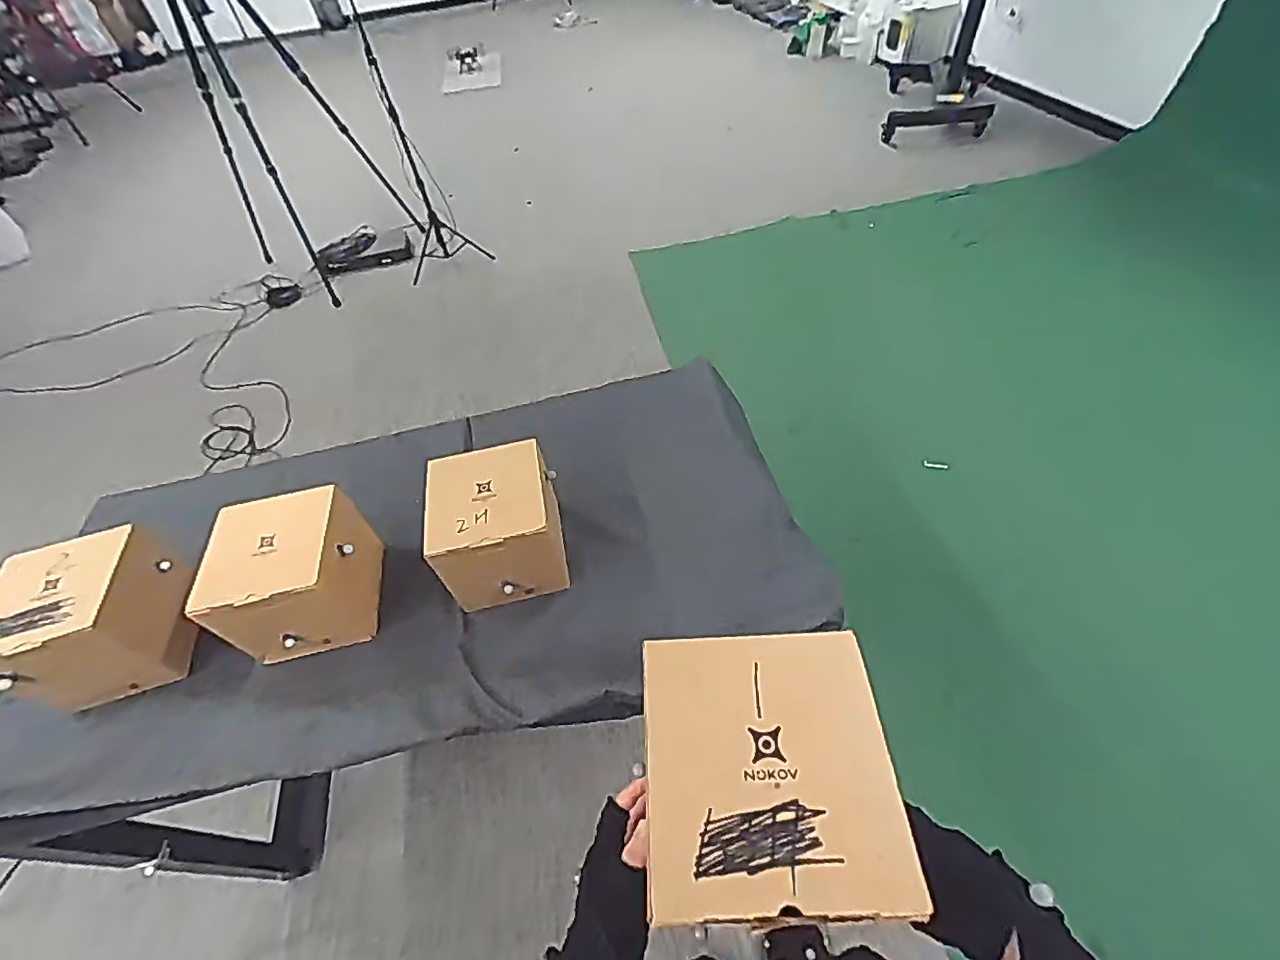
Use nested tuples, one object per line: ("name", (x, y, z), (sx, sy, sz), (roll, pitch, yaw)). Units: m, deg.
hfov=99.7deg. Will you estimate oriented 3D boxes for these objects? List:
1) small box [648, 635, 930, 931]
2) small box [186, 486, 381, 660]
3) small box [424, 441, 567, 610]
("small box", (0.093, 0.240, 0.430), (0.168, 0.176, 0.179), (-2, 51, 2))
("small box", (-0.501, 0.138, 0.795), (0.168, 0.176, 0.179), (-12, 51, -5))
("small box", (-0.212, 0.071, 0.821), (0.168, 0.176, 0.179), (-12, 51, -4))
